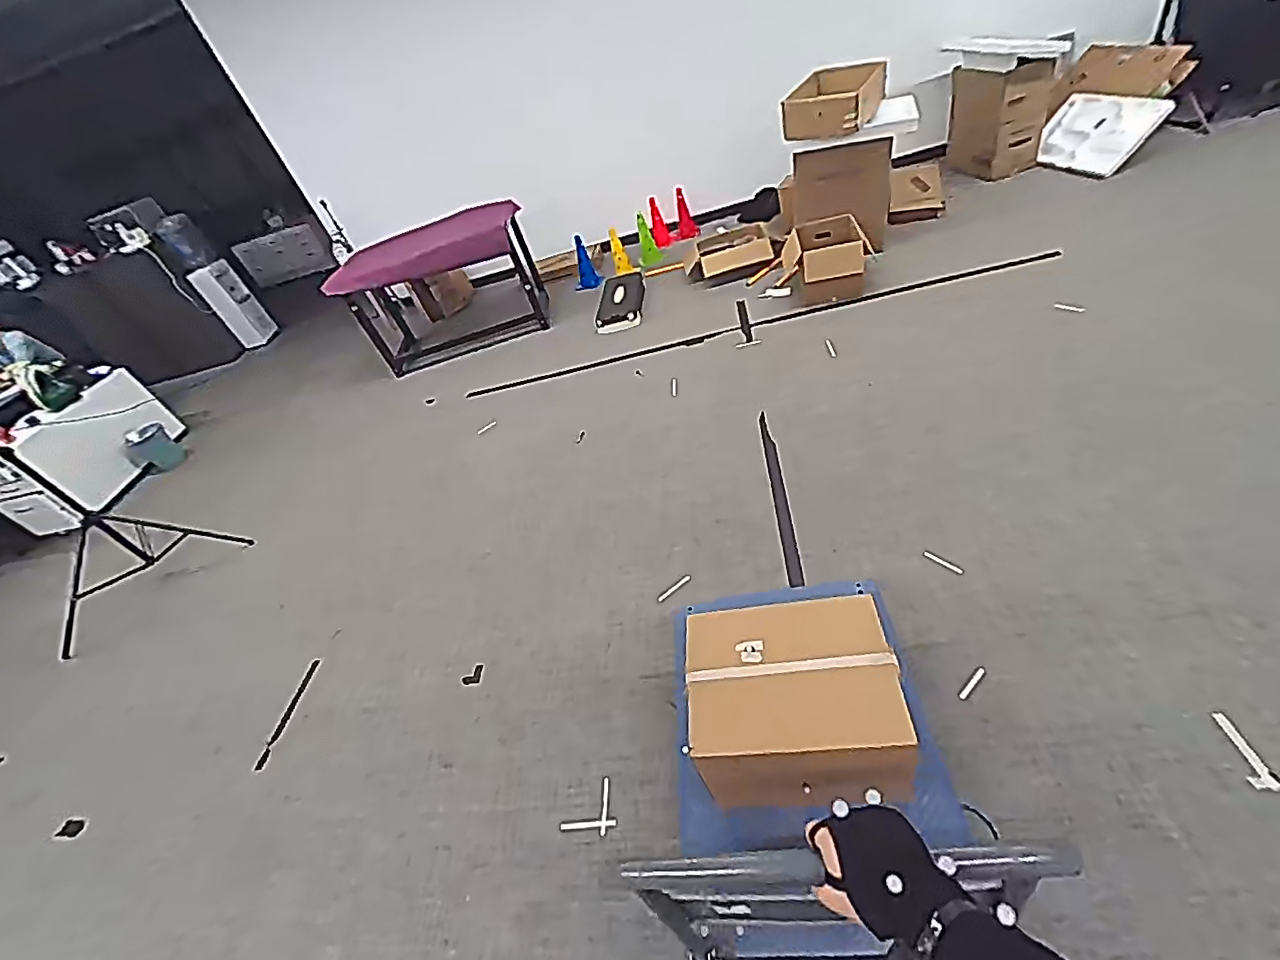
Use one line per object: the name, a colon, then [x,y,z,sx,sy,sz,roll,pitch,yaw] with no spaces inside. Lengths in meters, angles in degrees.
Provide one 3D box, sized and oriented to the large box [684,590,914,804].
large box: [0.330,0.478,1.171,0.408,0.320,0.320,-11,40,14]
